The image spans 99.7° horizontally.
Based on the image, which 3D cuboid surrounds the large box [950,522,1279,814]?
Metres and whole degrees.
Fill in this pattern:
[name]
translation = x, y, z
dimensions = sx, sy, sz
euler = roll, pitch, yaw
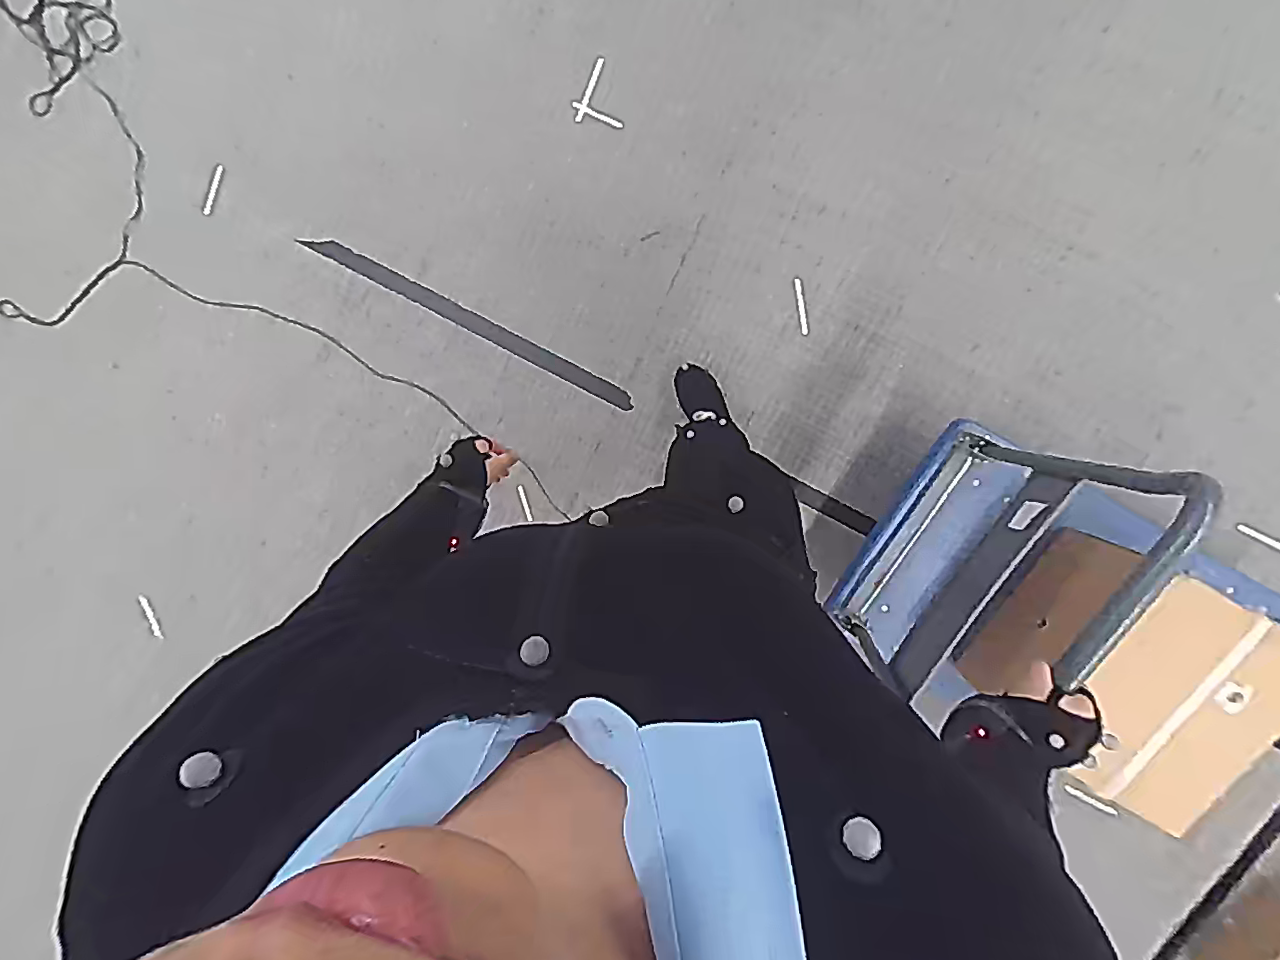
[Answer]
[large box]
translation = 0.943, 0.355, 1.112
dimensions = 0.320, 0.320, 0.408
euler = 31, 100, 1
